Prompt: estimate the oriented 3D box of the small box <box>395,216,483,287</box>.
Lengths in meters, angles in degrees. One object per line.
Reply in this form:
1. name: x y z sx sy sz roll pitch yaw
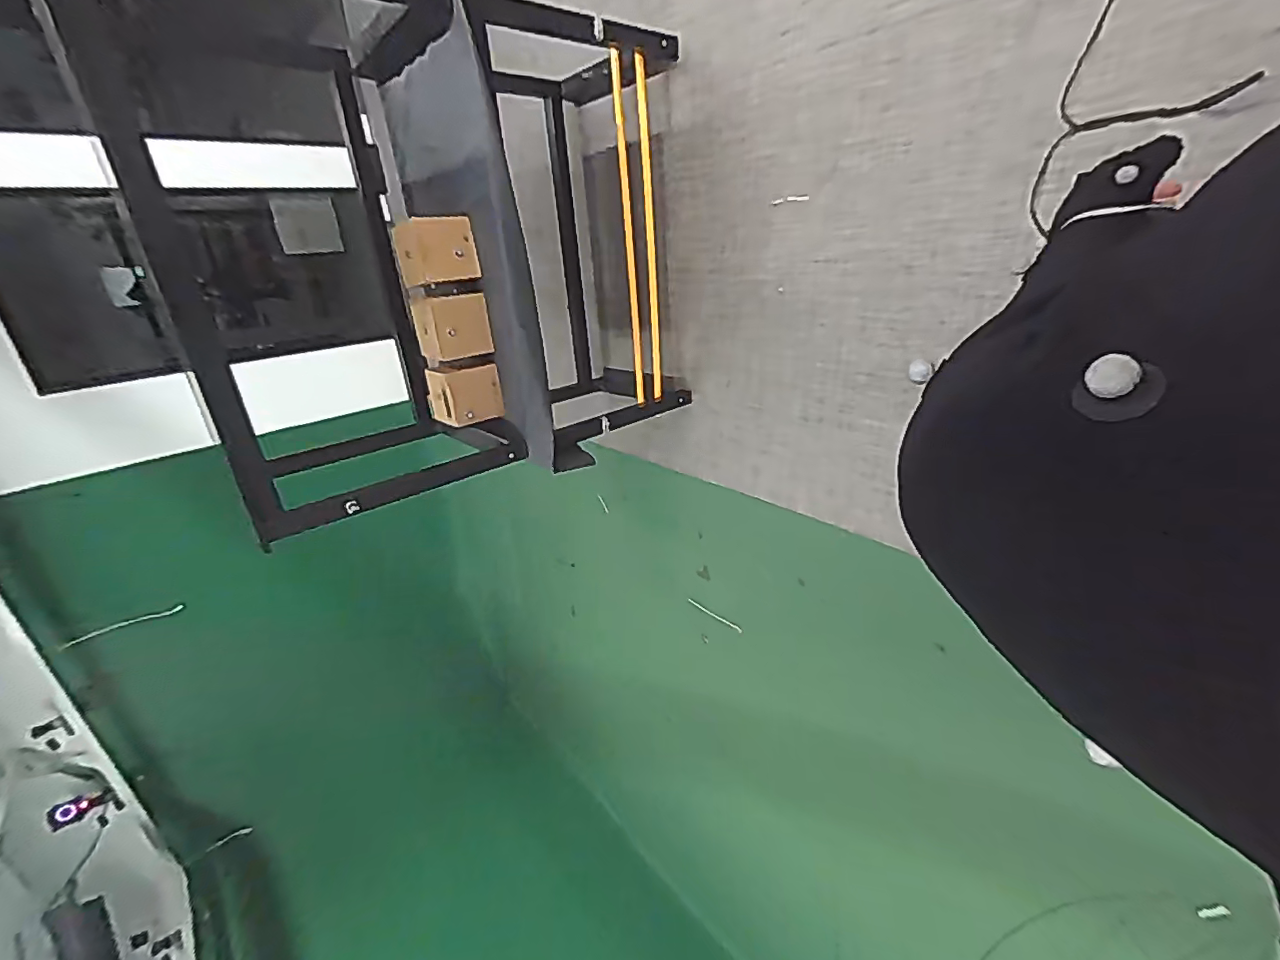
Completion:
1. small box: -0.580 -0.661 1.569 0.179 0.176 0.168 12 118 48
